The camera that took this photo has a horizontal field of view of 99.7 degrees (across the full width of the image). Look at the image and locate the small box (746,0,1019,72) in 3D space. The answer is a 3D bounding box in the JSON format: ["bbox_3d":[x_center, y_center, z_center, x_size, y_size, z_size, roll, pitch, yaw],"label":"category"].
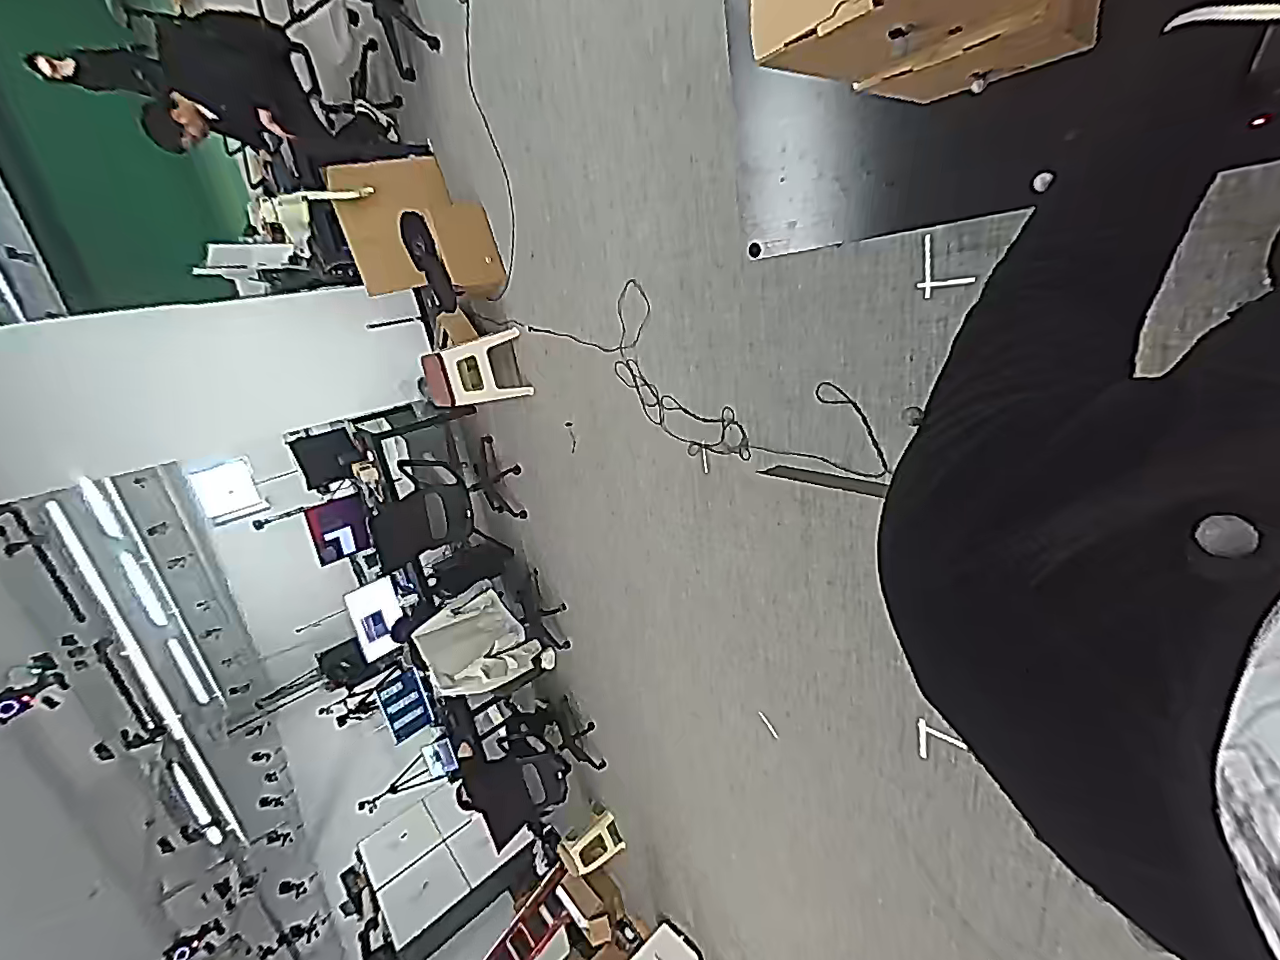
[{"bbox_3d":[0.194,-0.449,0.420,0.168,0.176,0.179,11,119,49],"label":"small box"}]

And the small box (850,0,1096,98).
[{"bbox_3d":[0.320,-0.495,0.515,0.168,0.176,0.179,16,122,48],"label":"small box"}]
